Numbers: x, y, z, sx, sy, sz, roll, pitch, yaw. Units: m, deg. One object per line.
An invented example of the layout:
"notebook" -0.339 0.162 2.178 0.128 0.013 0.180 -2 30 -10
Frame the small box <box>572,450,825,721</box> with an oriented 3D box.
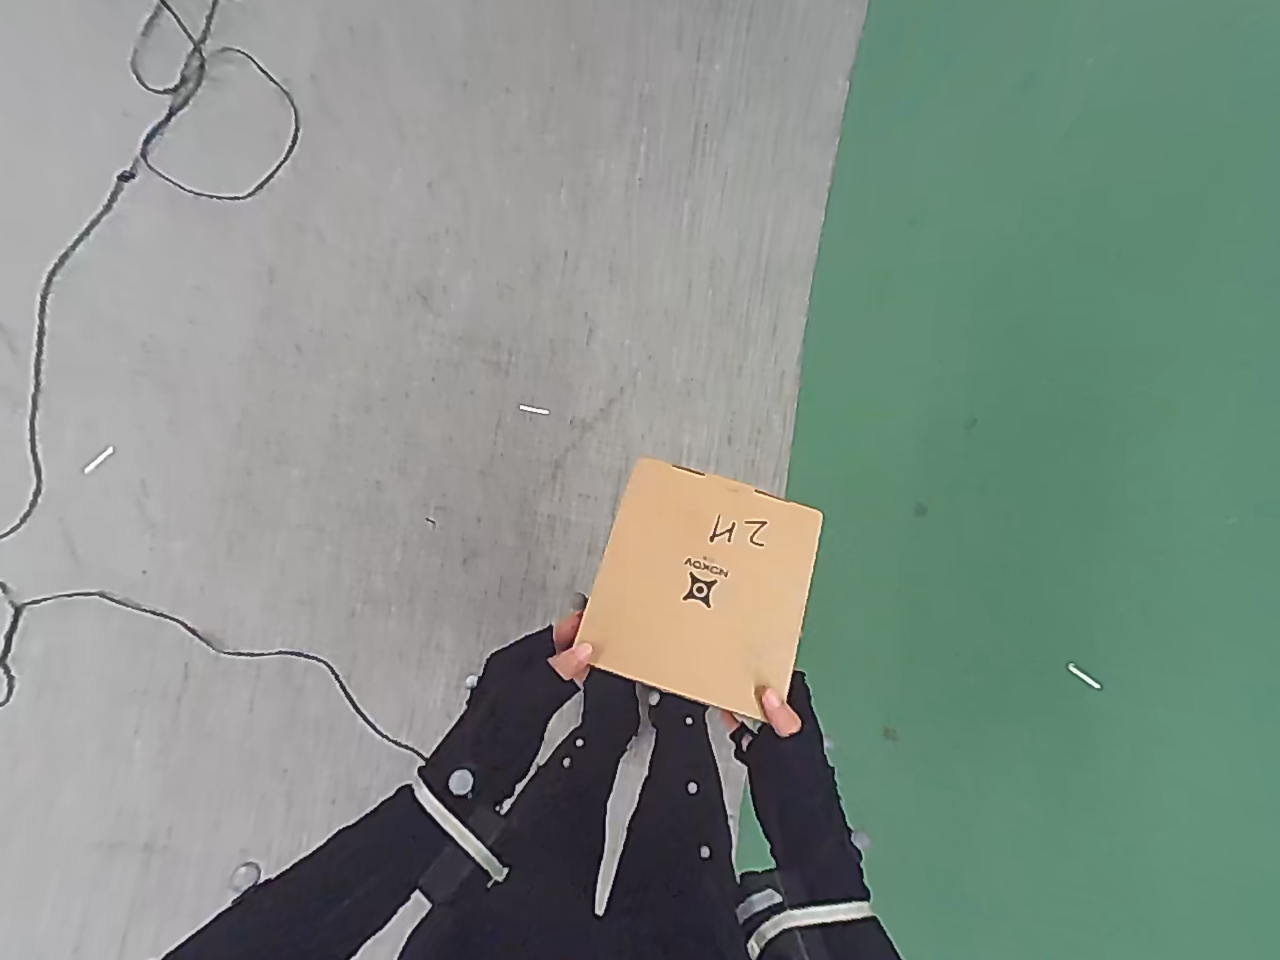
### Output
"small box" 0.047 0.102 0.501 0.168 0.176 0.179 18 70 2
